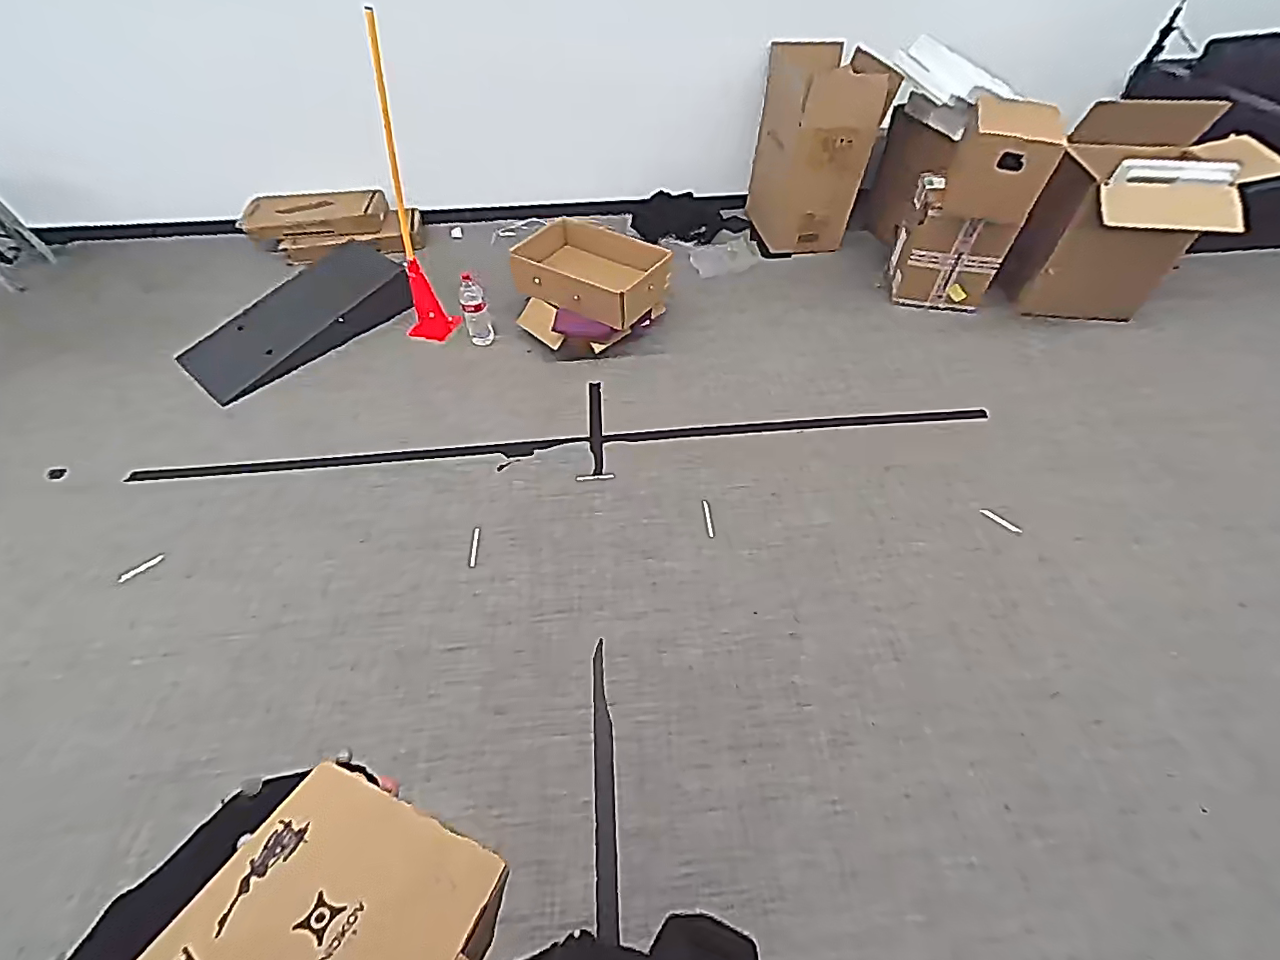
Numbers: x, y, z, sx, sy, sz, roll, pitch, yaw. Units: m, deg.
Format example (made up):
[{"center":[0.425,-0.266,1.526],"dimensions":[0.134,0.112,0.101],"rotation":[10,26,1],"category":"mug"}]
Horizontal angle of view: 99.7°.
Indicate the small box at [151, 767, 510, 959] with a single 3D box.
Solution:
[{"center":[-0.224,0.368,0.407],"dimensions":[0.179,0.176,0.168],"rotation":[23,33,9],"category":"small box"}]
